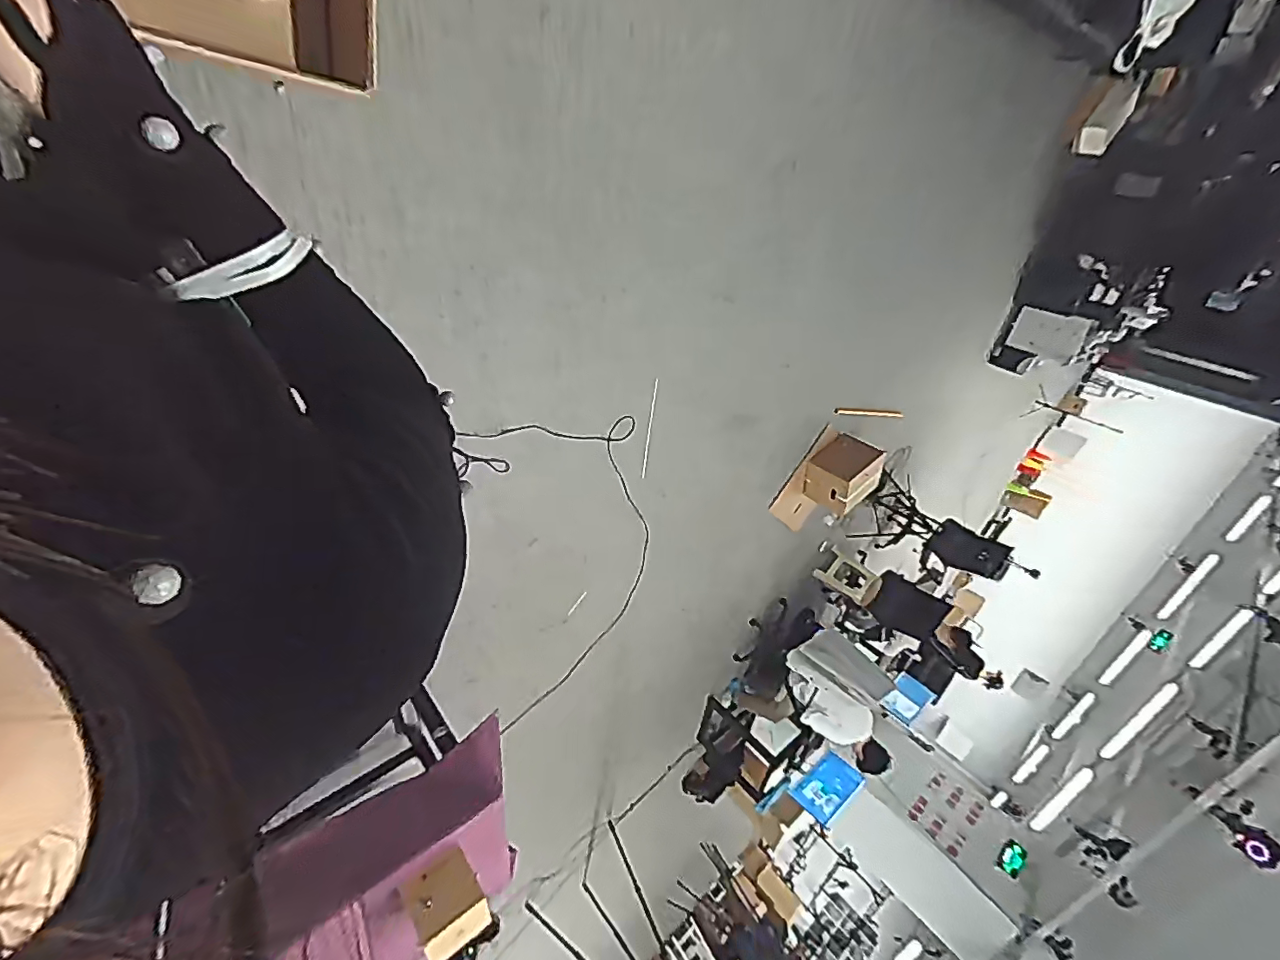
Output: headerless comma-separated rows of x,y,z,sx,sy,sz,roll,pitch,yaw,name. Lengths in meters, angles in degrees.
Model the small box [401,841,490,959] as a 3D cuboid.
-0.522,1.118,1.448,0.168,0.176,0.179,-23,134,-34,small box
